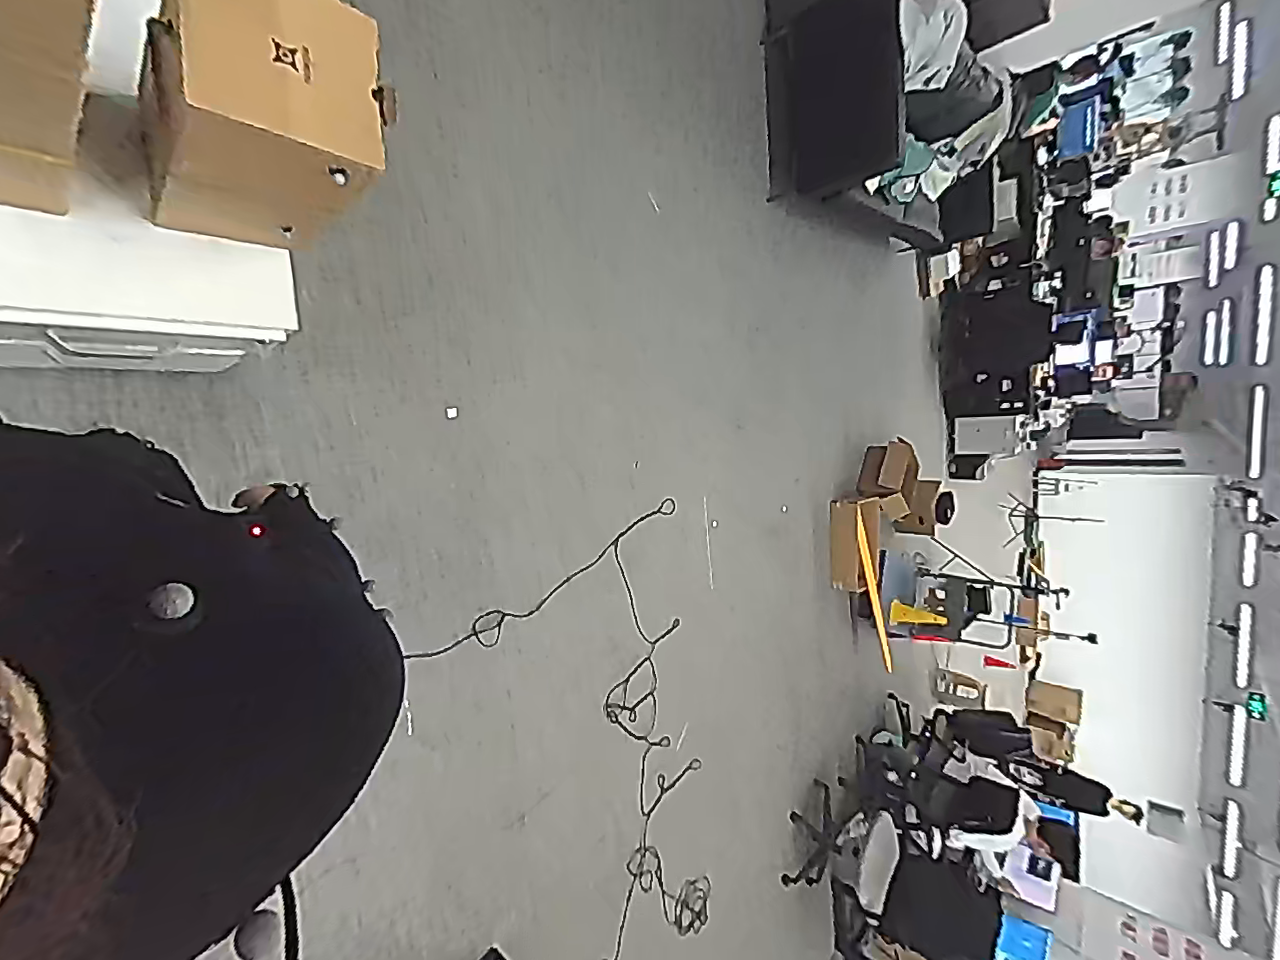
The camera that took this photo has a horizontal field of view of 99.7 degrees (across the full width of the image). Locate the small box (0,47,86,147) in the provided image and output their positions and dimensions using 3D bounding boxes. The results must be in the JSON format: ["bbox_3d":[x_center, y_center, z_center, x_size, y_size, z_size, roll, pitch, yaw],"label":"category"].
[{"bbox_3d":[-0.564,-0.391,0.414,0.179,0.176,0.168,-10,99,-49],"label":"small box"}]

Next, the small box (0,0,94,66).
[{"bbox_3d":[-0.437,-0.391,0.309,0.168,0.176,0.179,-10,99,-49],"label":"small box"}]

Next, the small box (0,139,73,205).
[{"bbox_3d":[-0.686,-0.392,0.524,0.179,0.176,0.168,-9,99,-48],"label":"small box"}]

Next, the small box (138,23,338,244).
[{"bbox_3d":[-0.523,-0.424,0.705,0.179,0.176,0.168,-8,97,-45],"label":"small box"}]
